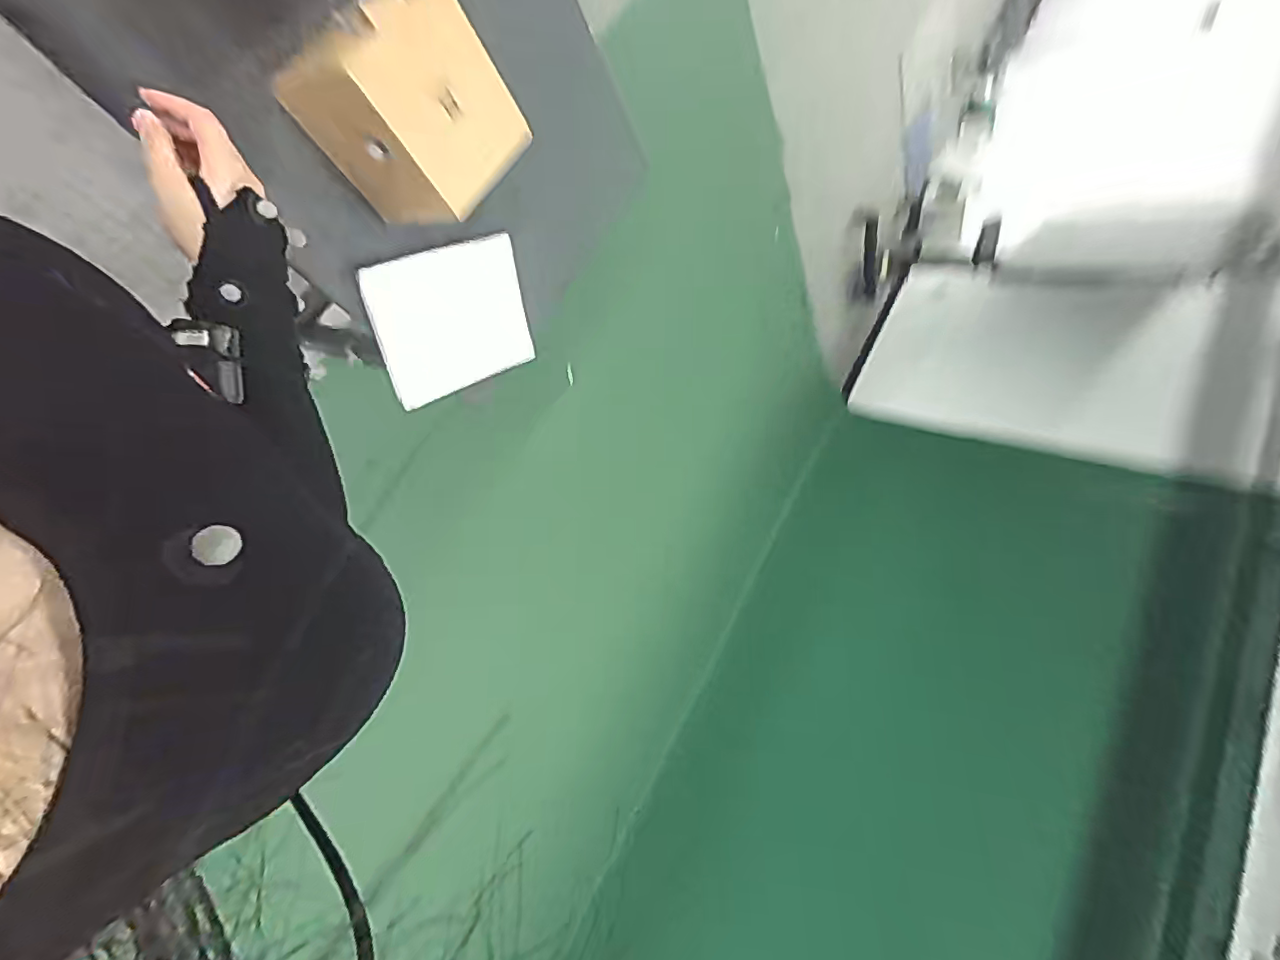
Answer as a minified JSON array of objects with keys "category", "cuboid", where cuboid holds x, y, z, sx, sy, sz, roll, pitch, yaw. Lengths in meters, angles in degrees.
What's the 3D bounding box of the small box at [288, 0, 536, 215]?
[{"category":"small box","cuboid":[-0.266,-0.445,0.646,0.168,0.176,0.179,-60,141,-17]}]
